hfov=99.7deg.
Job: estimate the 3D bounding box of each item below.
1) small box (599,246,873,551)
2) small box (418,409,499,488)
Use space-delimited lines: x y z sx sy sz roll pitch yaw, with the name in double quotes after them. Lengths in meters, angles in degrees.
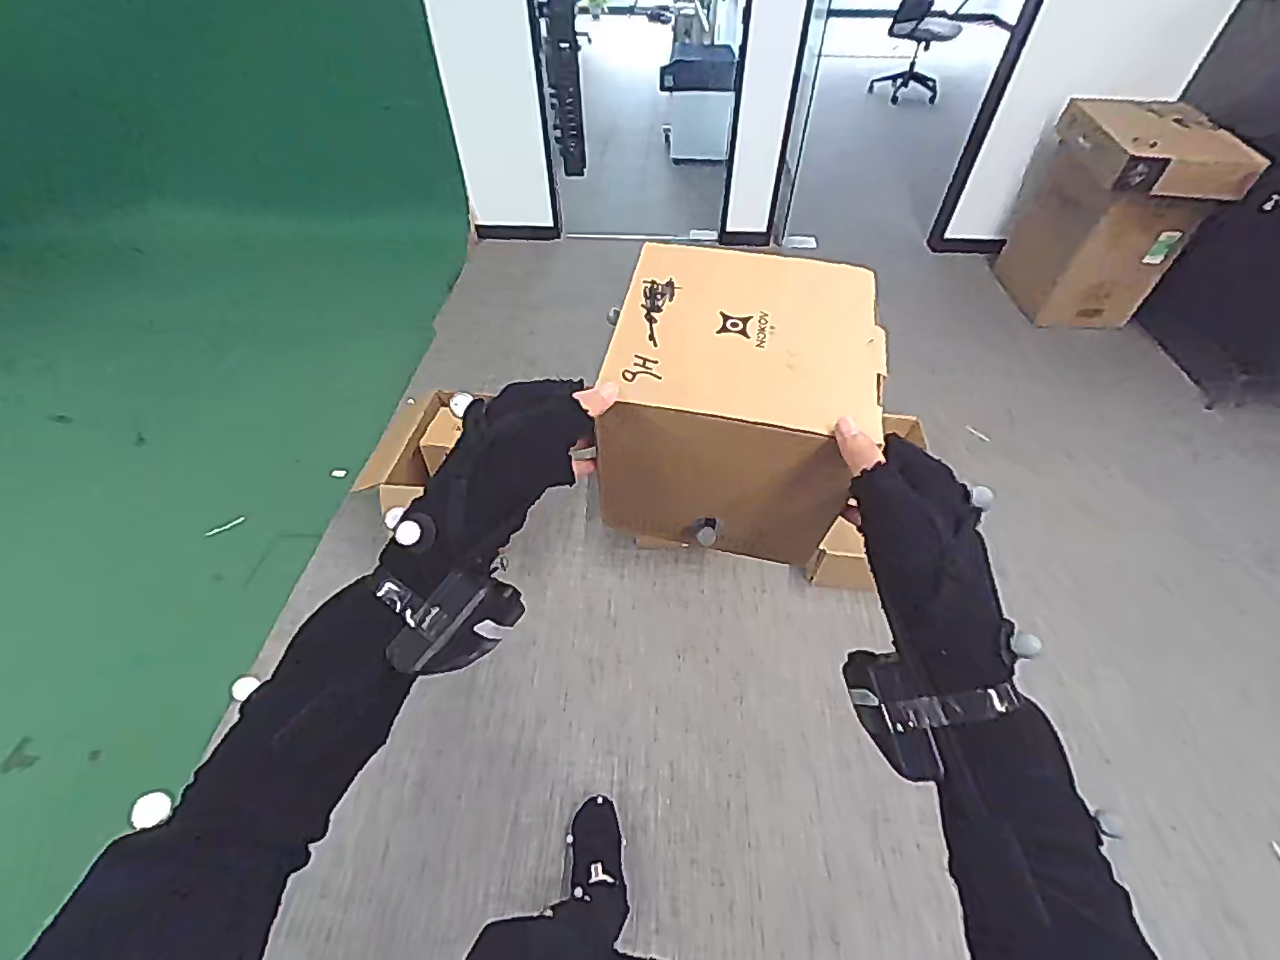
0.070 -0.058 0.446 0.179 0.176 0.168 11 56 4 "small box"
-0.548 -0.092 1.667 0.179 0.176 0.168 8 48 4 "small box"
